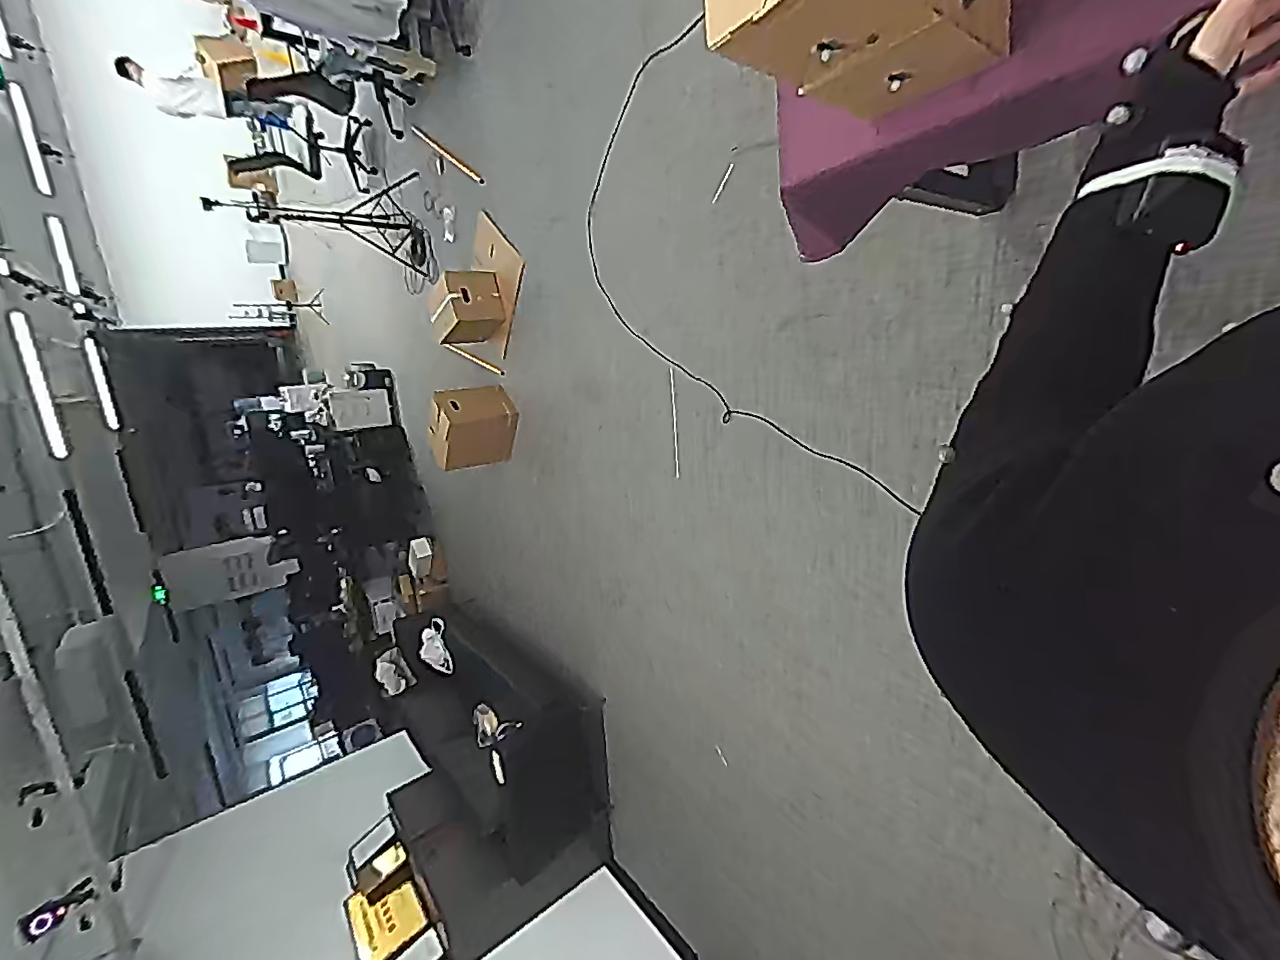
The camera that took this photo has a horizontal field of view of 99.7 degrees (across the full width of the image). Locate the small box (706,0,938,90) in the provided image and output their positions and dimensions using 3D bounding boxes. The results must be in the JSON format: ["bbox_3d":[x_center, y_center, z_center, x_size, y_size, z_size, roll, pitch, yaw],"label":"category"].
[{"bbox_3d":[0.181,-0.539,0.542,0.168,0.176,0.179,9,108,51],"label":"small box"}]
